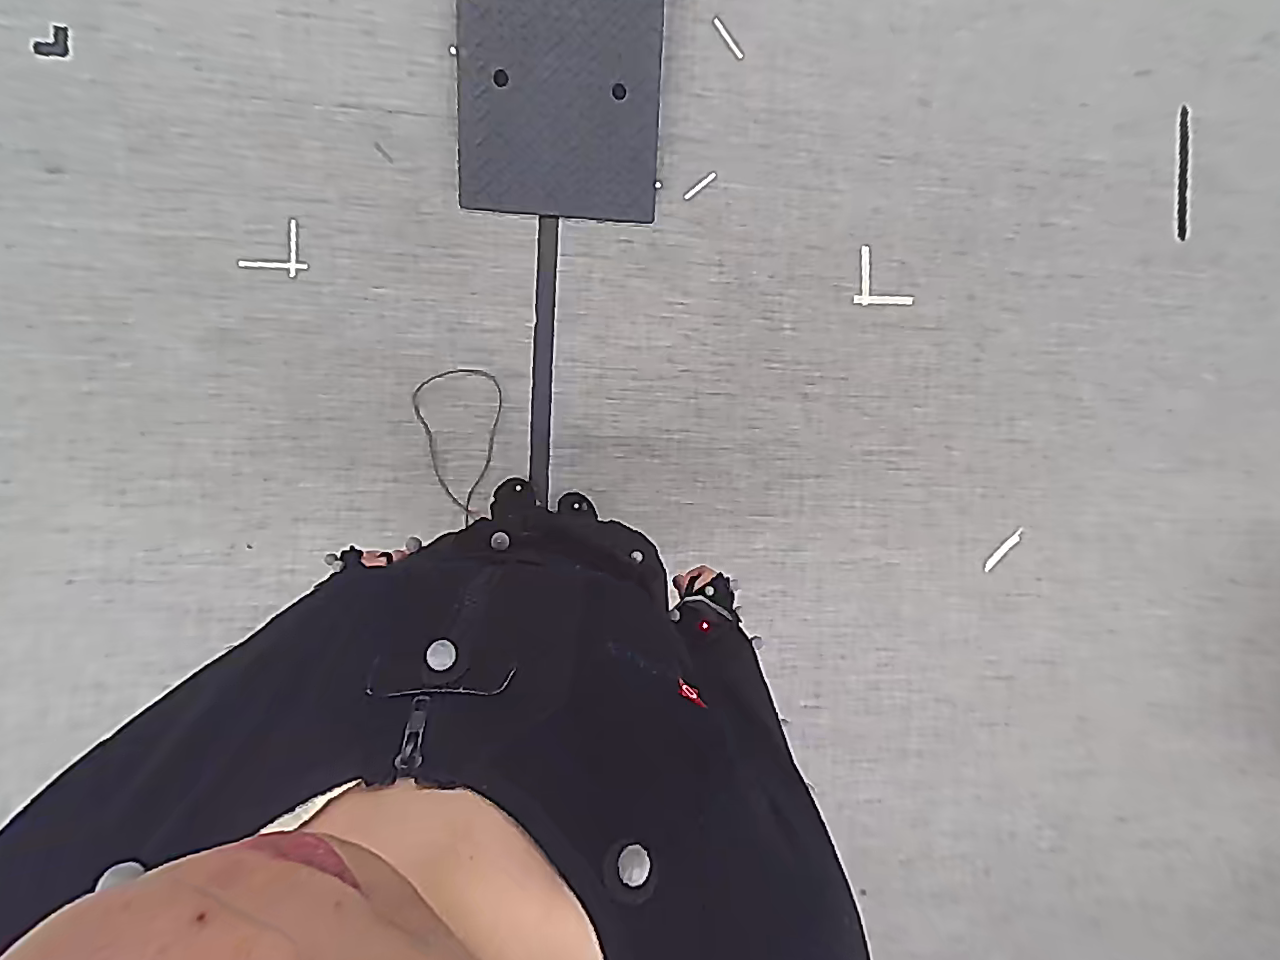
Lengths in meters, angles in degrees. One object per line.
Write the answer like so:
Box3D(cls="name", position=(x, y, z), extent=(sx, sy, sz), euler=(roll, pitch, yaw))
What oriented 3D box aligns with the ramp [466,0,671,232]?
Box3D(cls="ramp", position=(-0.166, -1.140, 1.299), extent=(0.509, 0.206, 0.991), euler=(-1, 91, -8))
